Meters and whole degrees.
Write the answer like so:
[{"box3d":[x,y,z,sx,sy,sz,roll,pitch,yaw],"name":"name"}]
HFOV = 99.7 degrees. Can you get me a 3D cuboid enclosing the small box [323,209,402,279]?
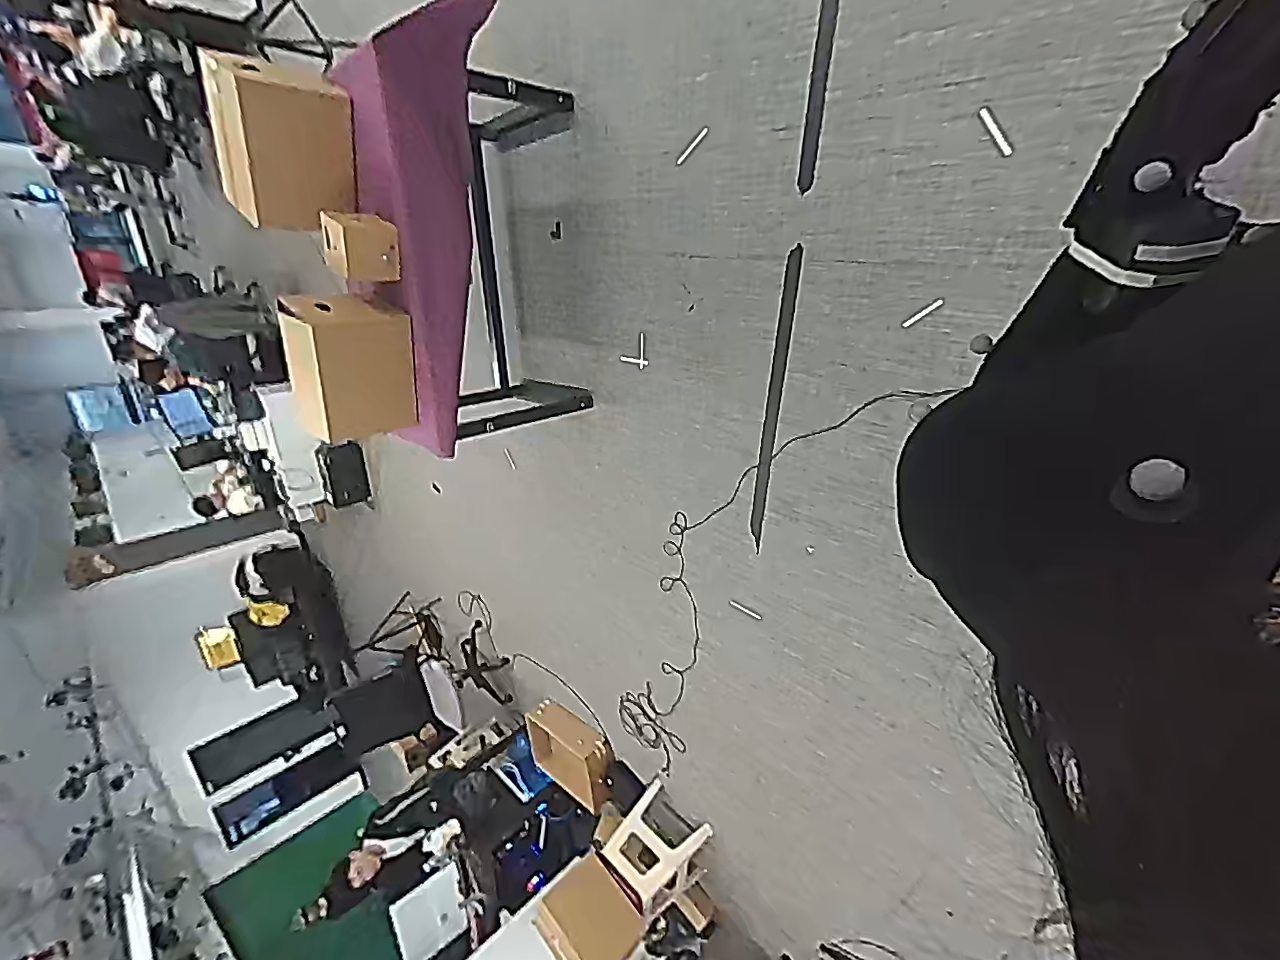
[{"box3d":[-0.880,-0.750,1.722,0.179,0.176,0.168,36,129,32],"name":"small box"}]
